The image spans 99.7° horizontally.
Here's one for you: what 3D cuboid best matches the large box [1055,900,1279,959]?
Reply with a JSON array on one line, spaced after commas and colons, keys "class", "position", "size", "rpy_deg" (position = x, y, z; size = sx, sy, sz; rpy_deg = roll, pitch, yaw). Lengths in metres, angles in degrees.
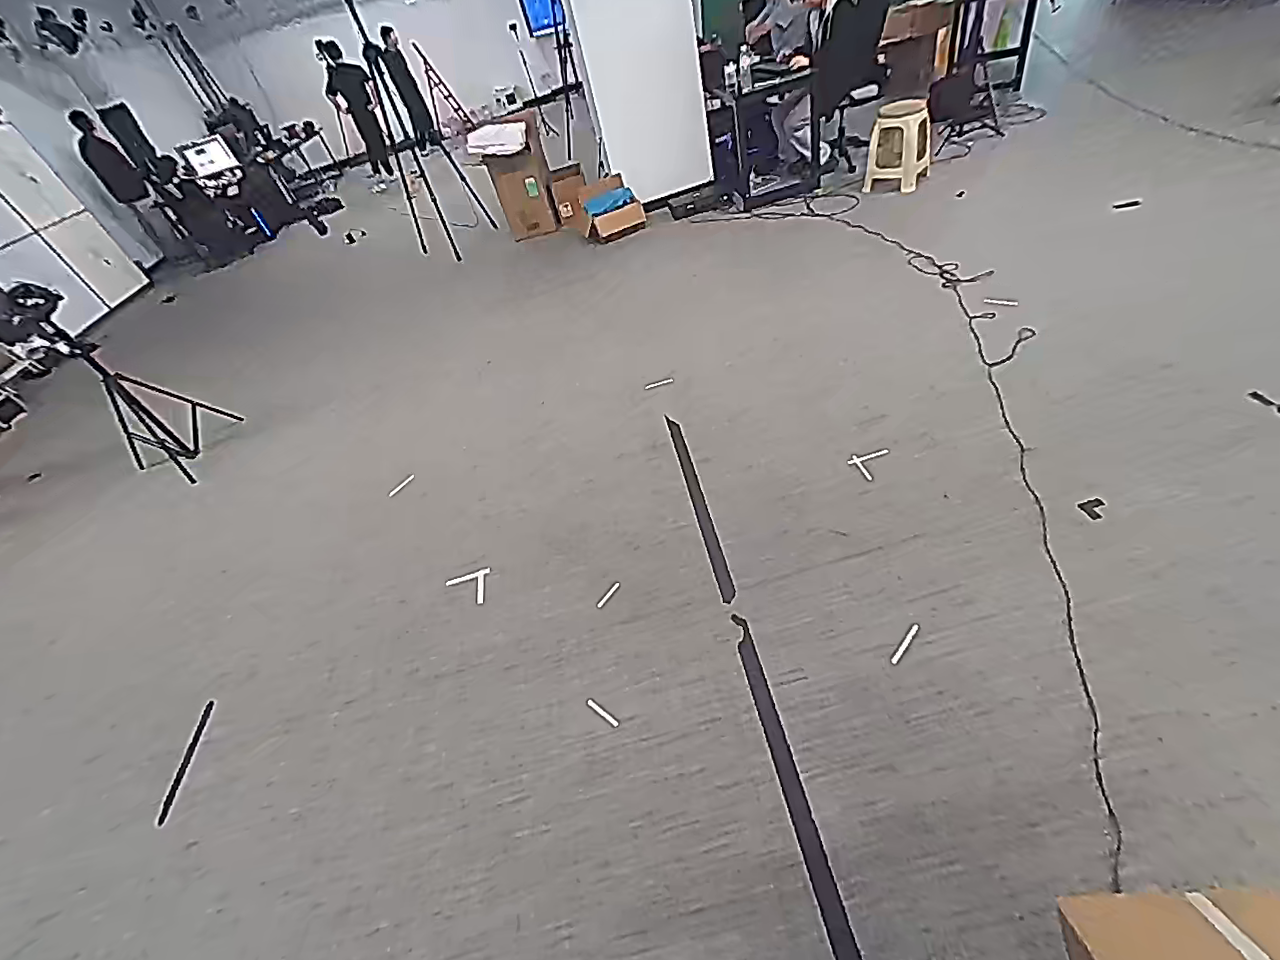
[{"class": "large box", "position": [0.669, 0.673, 0.476], "size": [0.320, 0.408, 0.320], "rpy_deg": [-14, 86, 14]}]
